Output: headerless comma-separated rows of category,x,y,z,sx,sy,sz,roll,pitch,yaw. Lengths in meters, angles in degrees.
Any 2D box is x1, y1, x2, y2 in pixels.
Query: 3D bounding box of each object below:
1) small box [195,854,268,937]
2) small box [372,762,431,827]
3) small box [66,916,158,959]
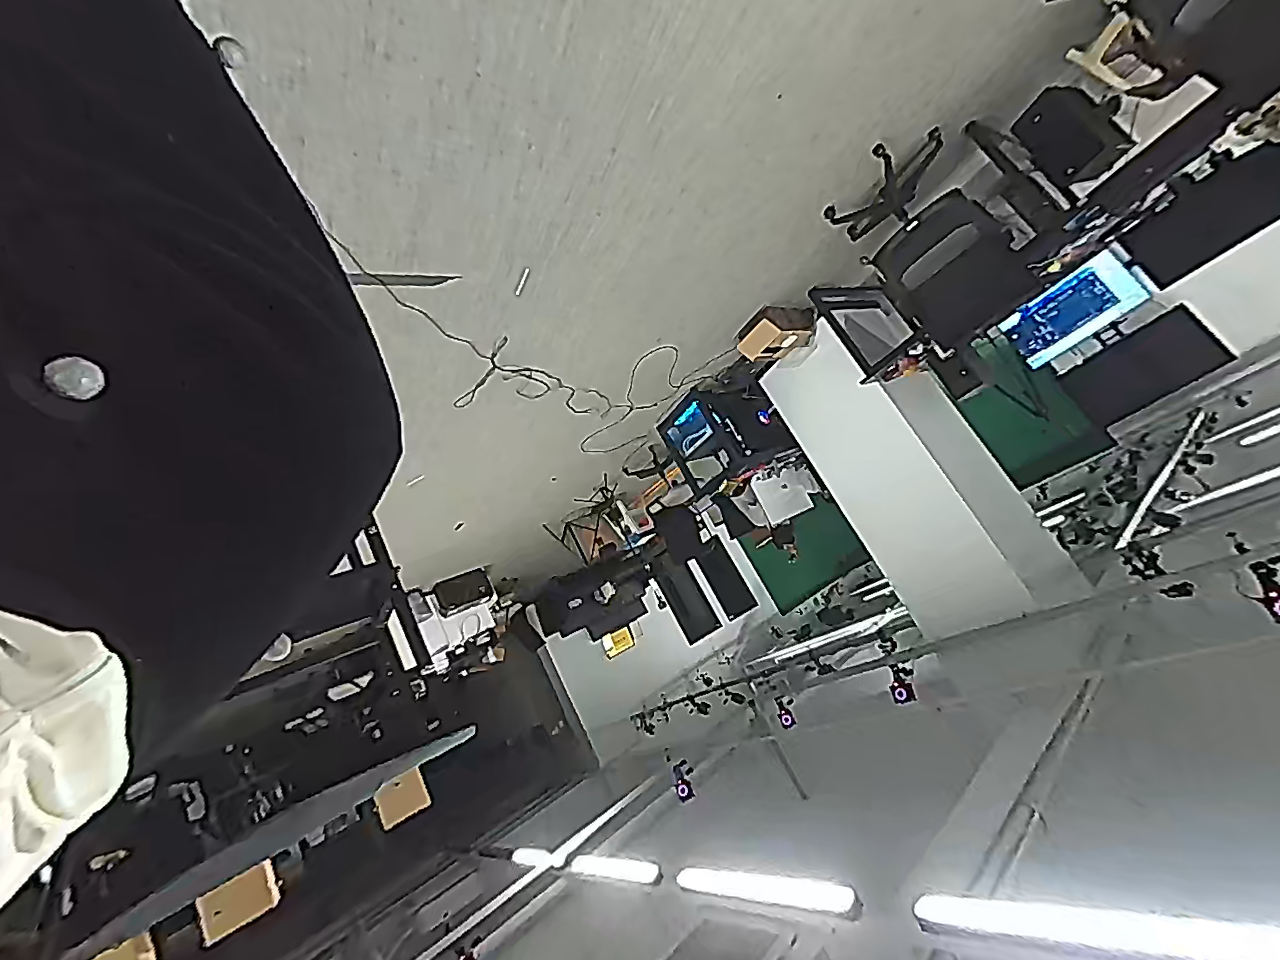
small box,-1.436,1.452,1.903,0.168,0.176,0.179,-18,162,-38
small box,-1.002,1.312,2.256,0.179,0.176,0.168,-17,161,-37
small box,-1.490,1.373,1.512,0.168,0.176,0.179,-19,164,-37
